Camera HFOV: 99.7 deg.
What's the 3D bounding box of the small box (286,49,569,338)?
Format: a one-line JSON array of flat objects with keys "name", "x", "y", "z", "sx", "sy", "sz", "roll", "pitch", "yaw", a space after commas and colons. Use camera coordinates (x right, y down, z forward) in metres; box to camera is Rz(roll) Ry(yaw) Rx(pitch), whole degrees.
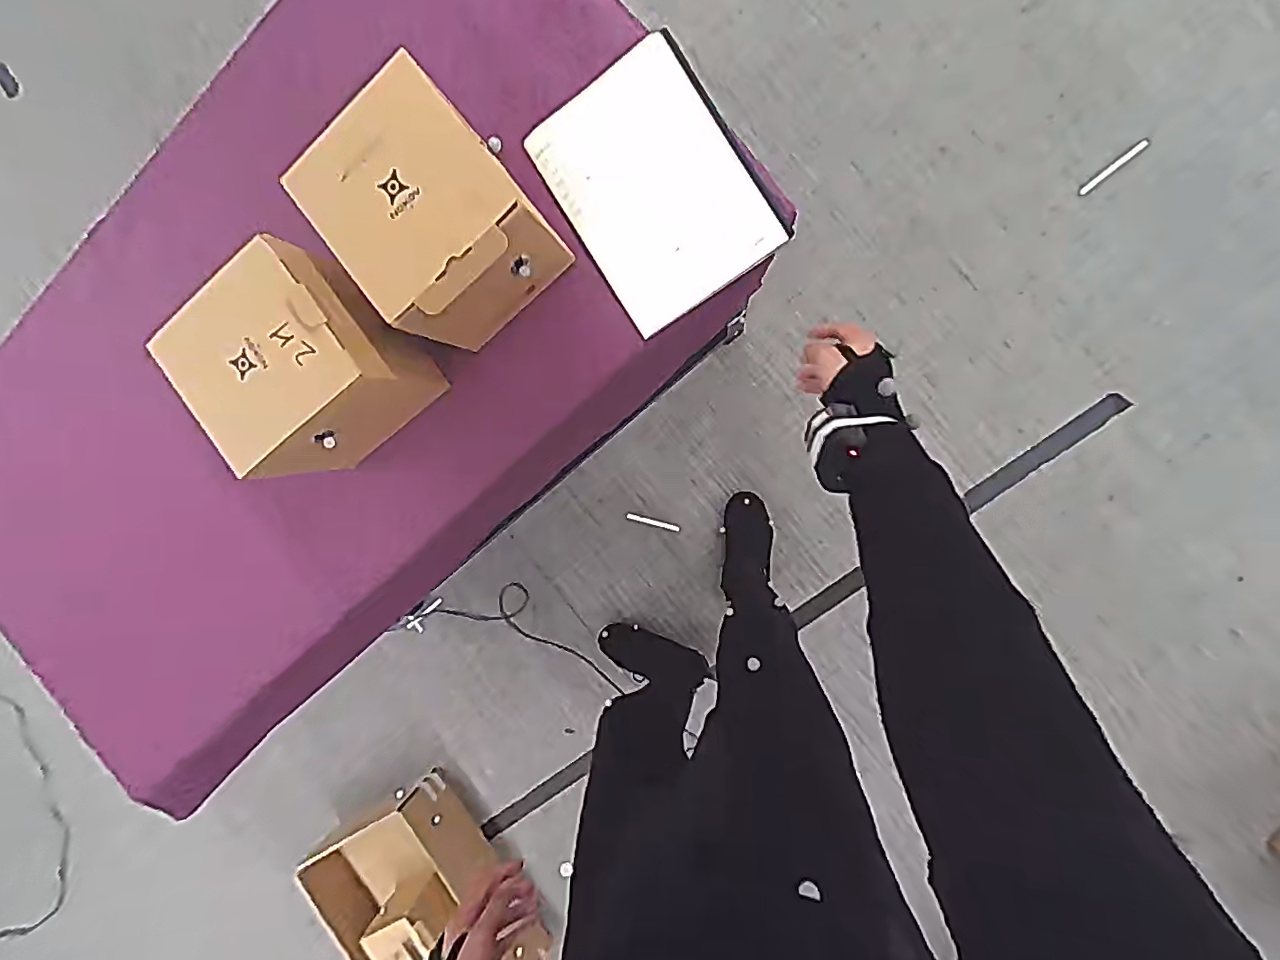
[{"name": "small box", "x": -0.199, "y": -0.266, "z": 0.558, "sx": 0.168, "sy": 0.176, "sz": 0.179, "roll": -37, "pitch": 88, "yaw": 10}]
